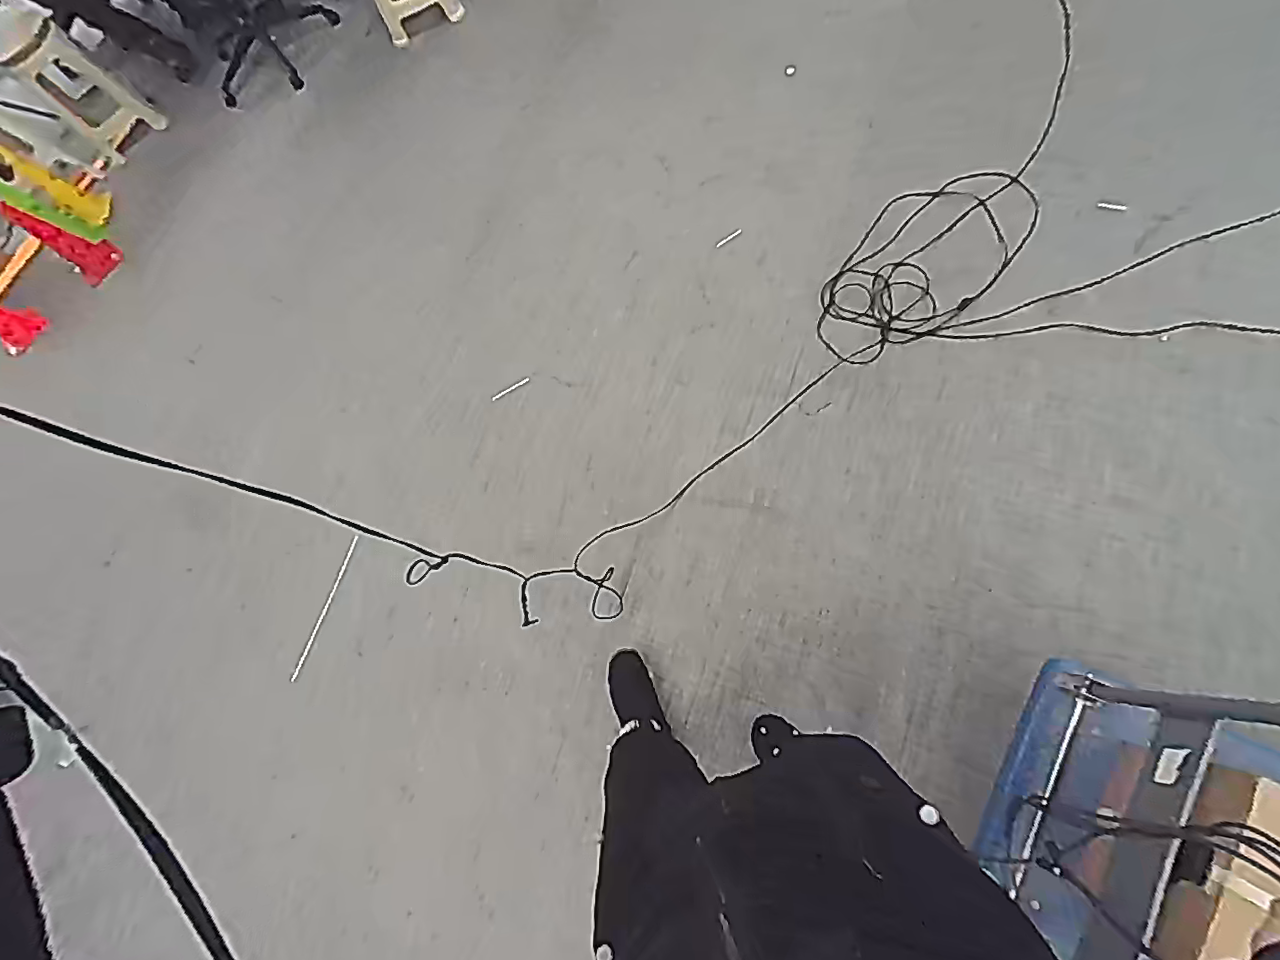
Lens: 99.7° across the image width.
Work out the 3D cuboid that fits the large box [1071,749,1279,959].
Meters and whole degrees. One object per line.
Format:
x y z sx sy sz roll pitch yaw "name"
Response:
1.011 0.690 0.838 0.408 0.320 0.320 28 81 18 "large box"
